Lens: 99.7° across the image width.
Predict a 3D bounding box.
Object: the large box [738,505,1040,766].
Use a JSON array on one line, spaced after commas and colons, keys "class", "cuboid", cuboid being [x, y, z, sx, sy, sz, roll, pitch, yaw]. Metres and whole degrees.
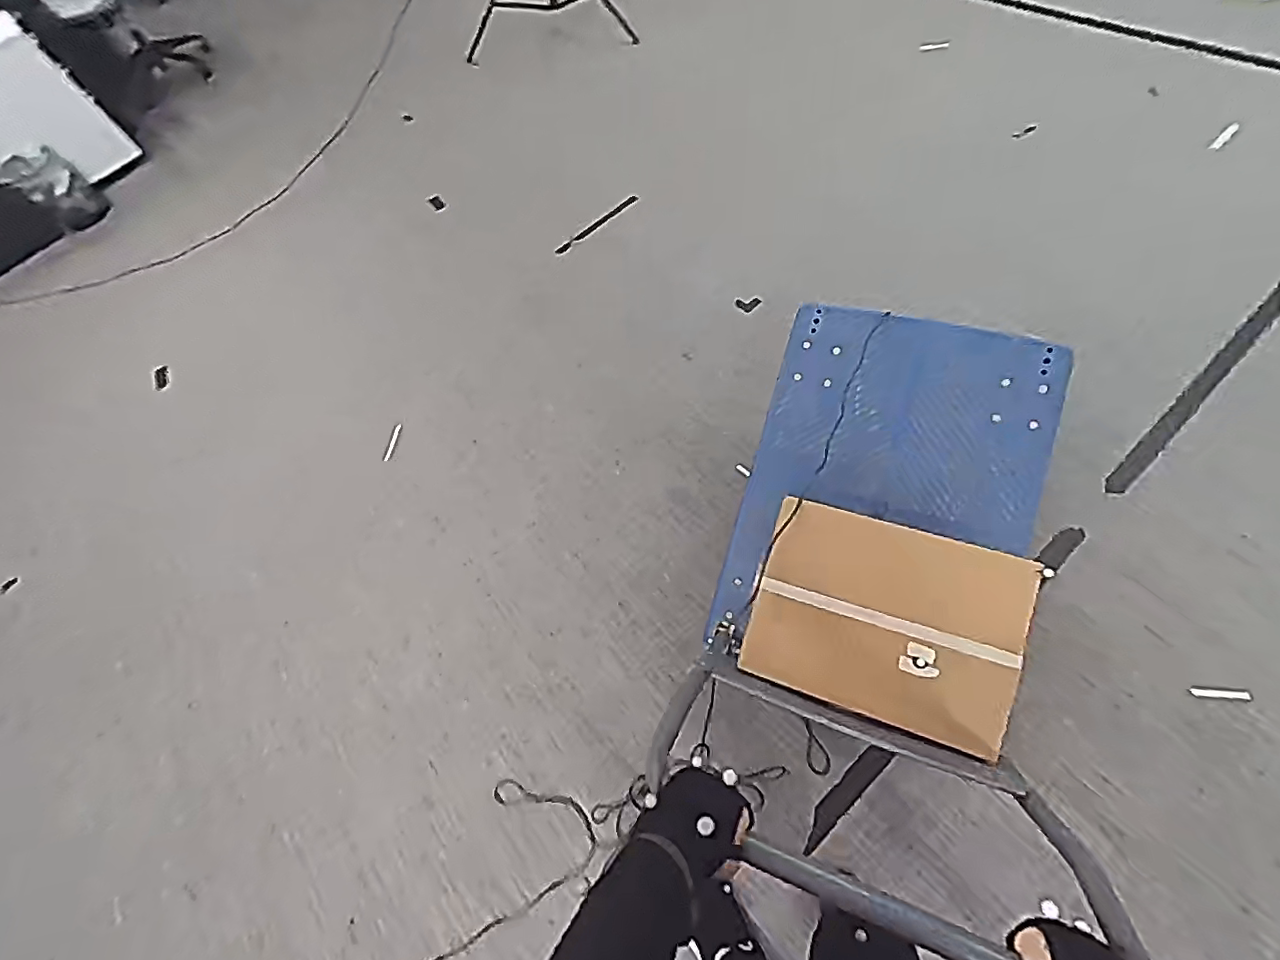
[{"class": "large box", "cuboid": [0.424, 0.258, 1.013, 0.408, 0.320, 0.320, 16, 87, 16]}]
